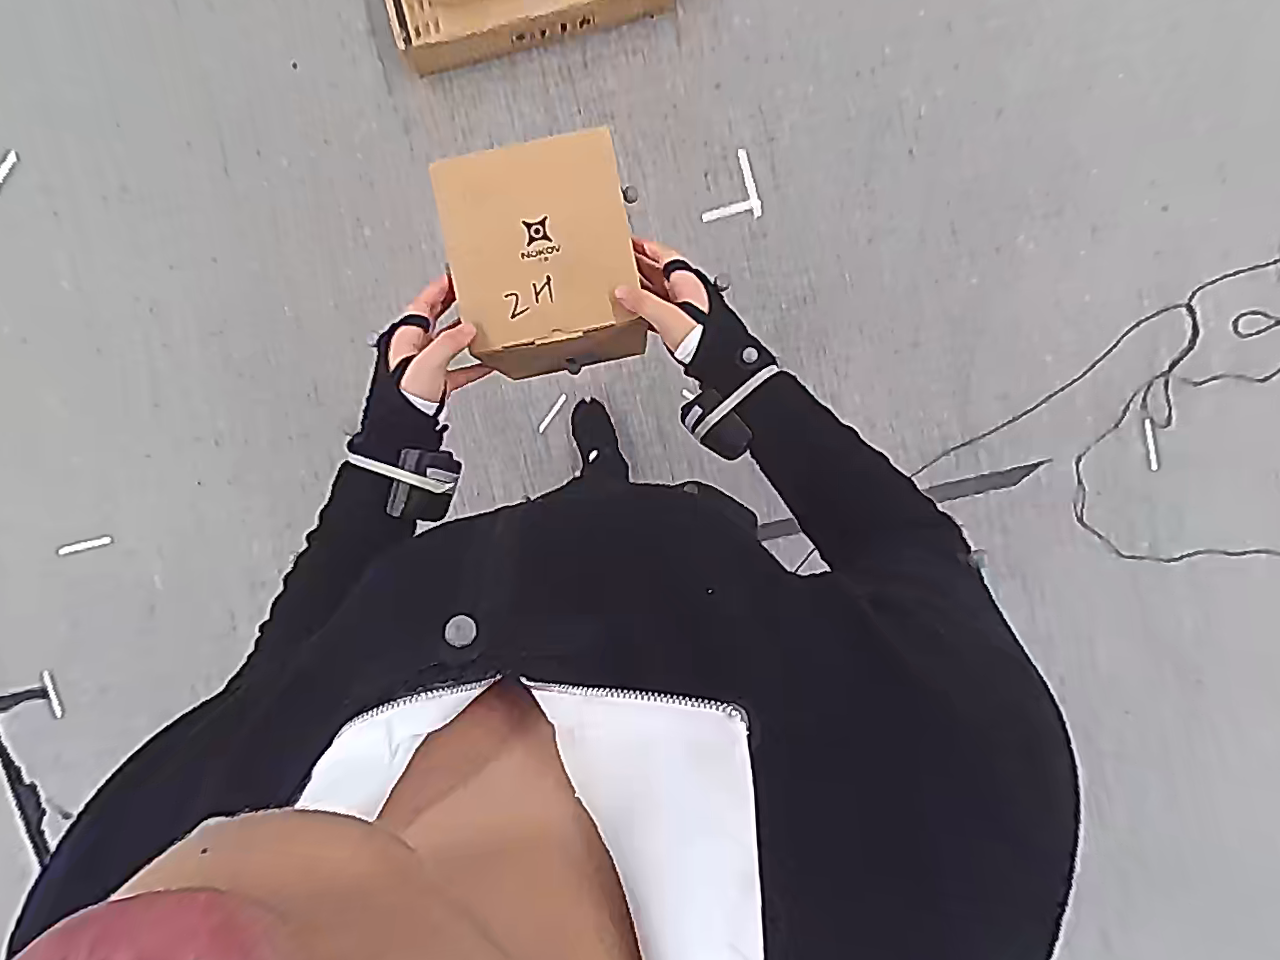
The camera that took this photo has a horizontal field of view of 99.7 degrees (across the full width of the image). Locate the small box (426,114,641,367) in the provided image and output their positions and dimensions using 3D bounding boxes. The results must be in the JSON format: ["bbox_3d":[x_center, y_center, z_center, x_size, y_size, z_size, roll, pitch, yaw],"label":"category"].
[{"bbox_3d":[-0.095,-0.228,0.560,0.168,0.176,0.179,-11,94,1],"label":"small box"}]
